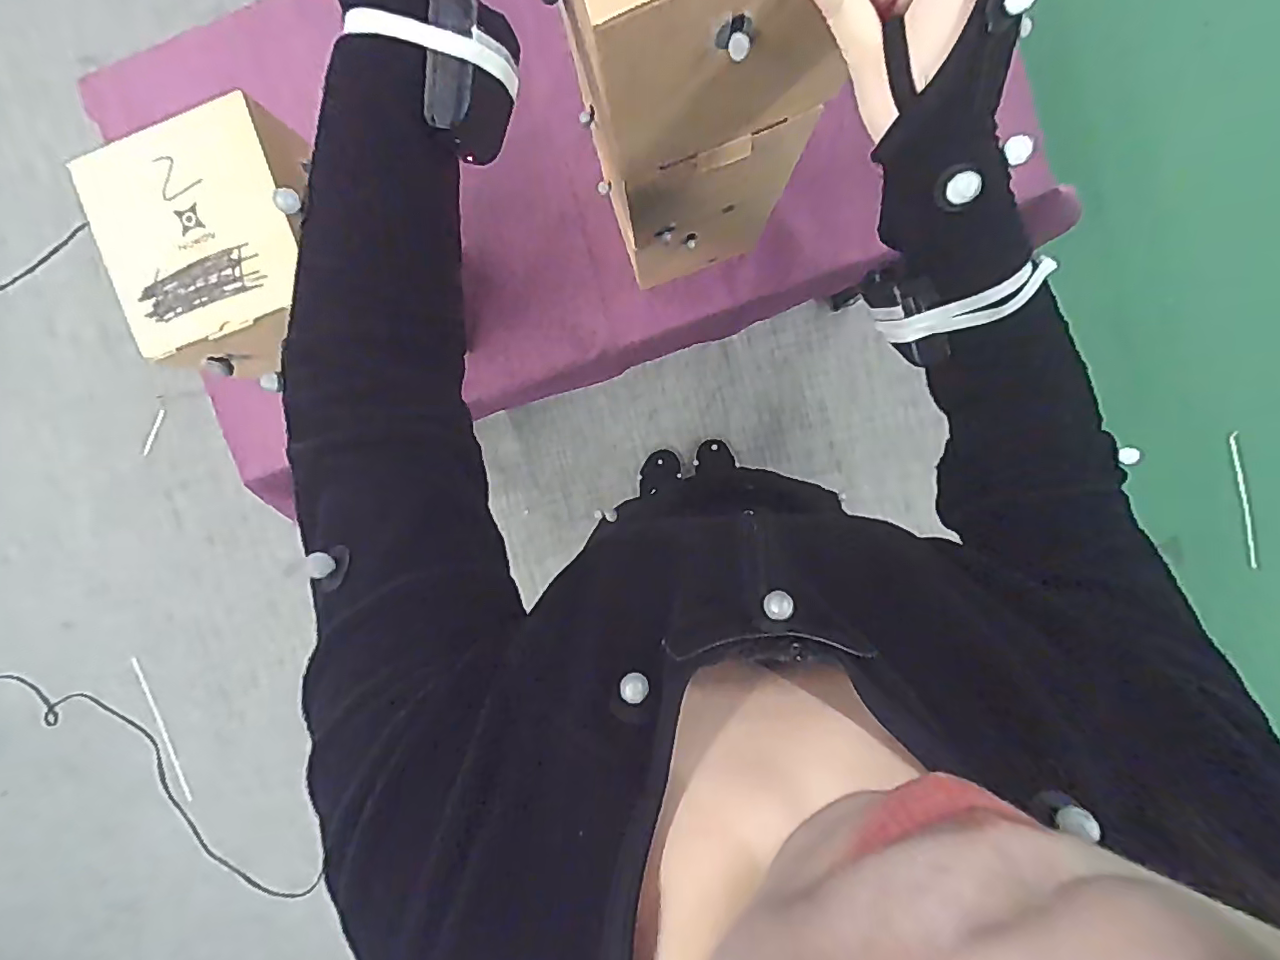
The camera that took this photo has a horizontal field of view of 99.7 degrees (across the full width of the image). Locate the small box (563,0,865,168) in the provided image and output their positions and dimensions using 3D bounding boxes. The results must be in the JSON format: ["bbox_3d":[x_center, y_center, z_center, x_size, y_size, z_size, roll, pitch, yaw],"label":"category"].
[{"bbox_3d":[0.035,-0.329,0.329,0.179,0.176,0.168,-18,96,5],"label":"small box"}]

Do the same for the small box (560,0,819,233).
[{"bbox_3d":[0.041,-0.350,0.493,0.168,0.176,0.179,-19,94,5],"label":"small box"}]

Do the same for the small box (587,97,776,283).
[{"bbox_3d":[0.049,-0.367,0.656,0.168,0.176,0.179,-18,94,6],"label":"small box"}]
